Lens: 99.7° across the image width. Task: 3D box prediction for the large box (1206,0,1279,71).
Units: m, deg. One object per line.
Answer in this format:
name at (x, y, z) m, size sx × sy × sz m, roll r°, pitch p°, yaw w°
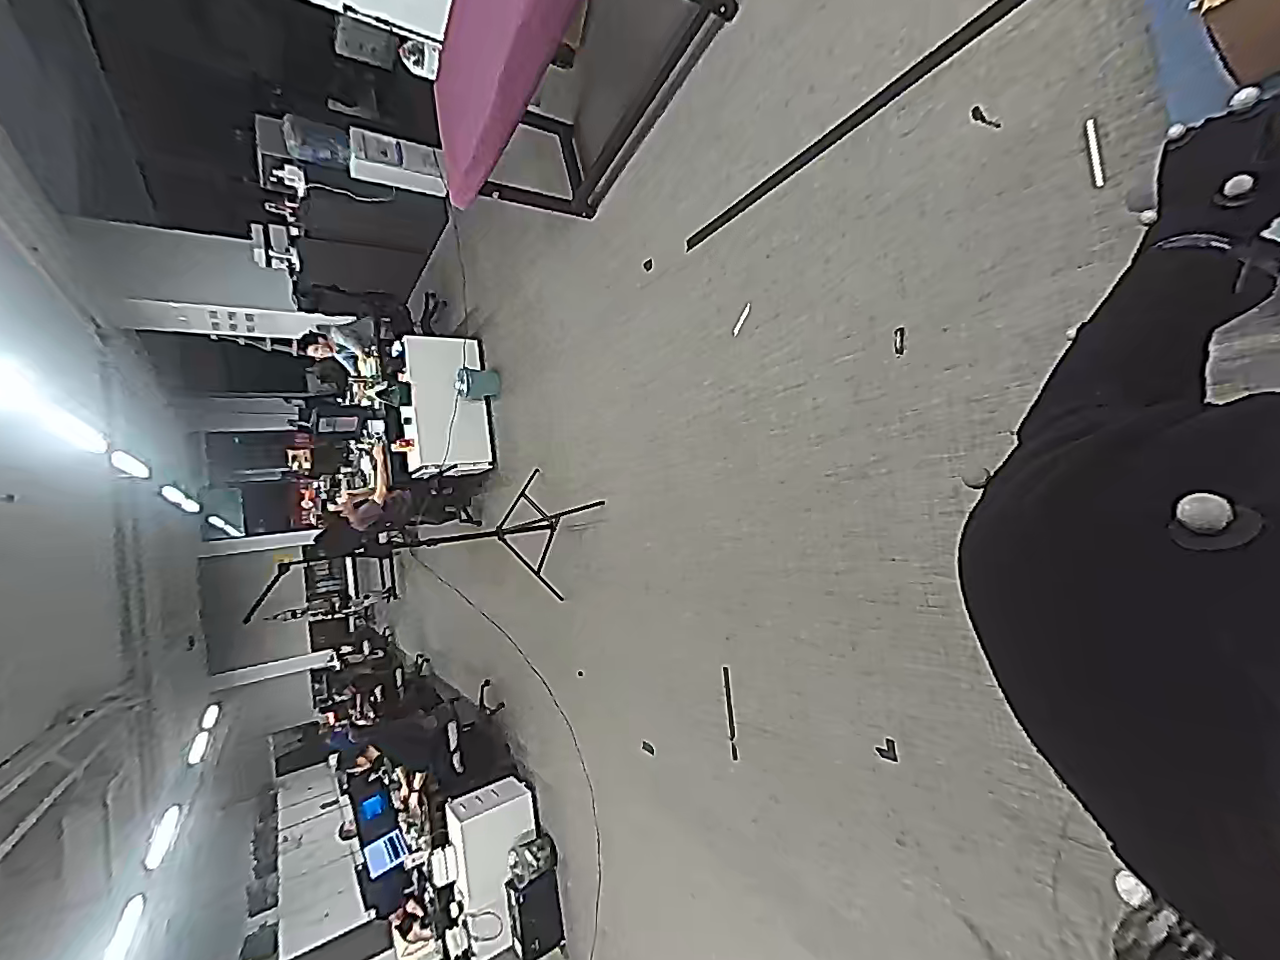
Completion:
large box at (0.952, -0.802, 0.624) m, size 0.408 × 0.320 × 0.320 m, roll -8°, pitch 87°, yaw 57°
